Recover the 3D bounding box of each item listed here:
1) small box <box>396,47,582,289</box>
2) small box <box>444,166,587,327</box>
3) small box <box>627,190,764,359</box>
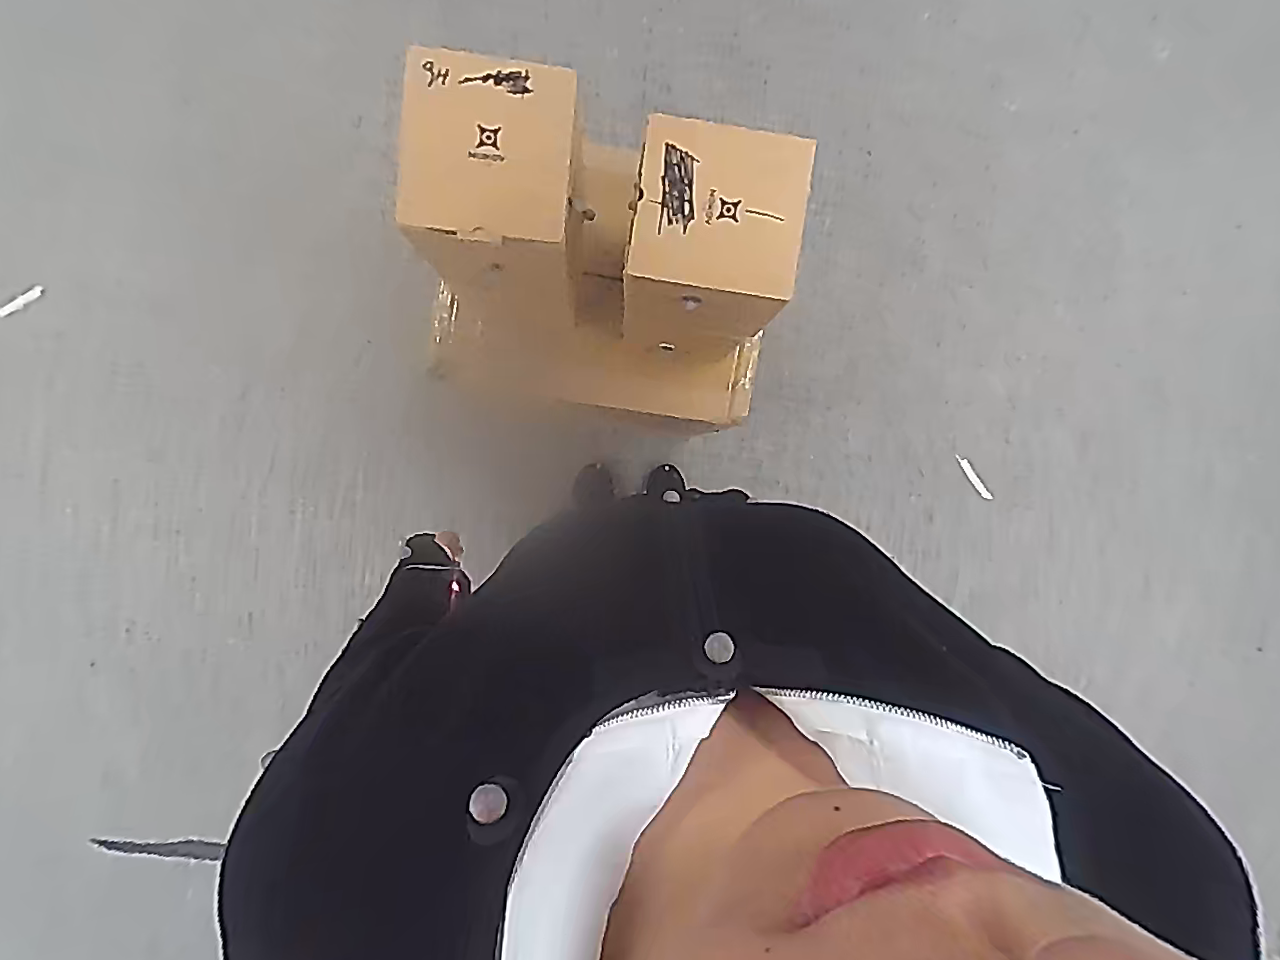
[{"bbox_3d":[-0.157,-0.331,0.612,0.168,0.176,0.179,5,92,-4],"label":"small box"},{"bbox_3d":[-0.168,-0.335,0.777,0.168,0.176,0.179,7,92,-5],"label":"small box"},{"bbox_3d":[0.071,-0.288,0.794,0.168,0.176,0.179,8,93,-1],"label":"small box"}]
